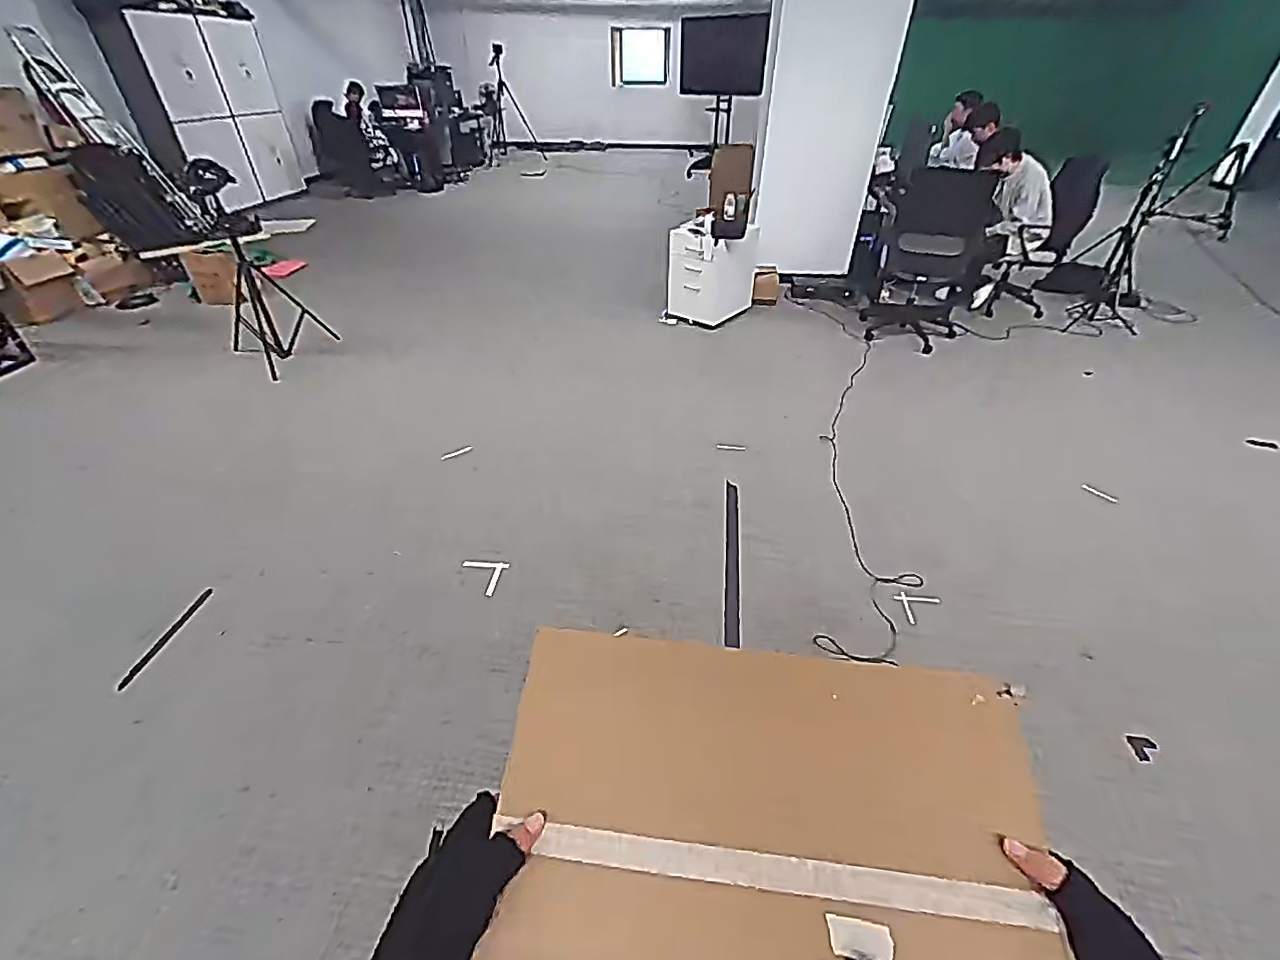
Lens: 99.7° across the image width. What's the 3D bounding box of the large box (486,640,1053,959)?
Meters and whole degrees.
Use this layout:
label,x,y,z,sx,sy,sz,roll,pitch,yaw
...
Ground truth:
label,x,y,z,sx,sy,sz,roll,pitch,yaw
large box,0.099,0.373,0.536,0.408,0.320,0.320,5,58,6
